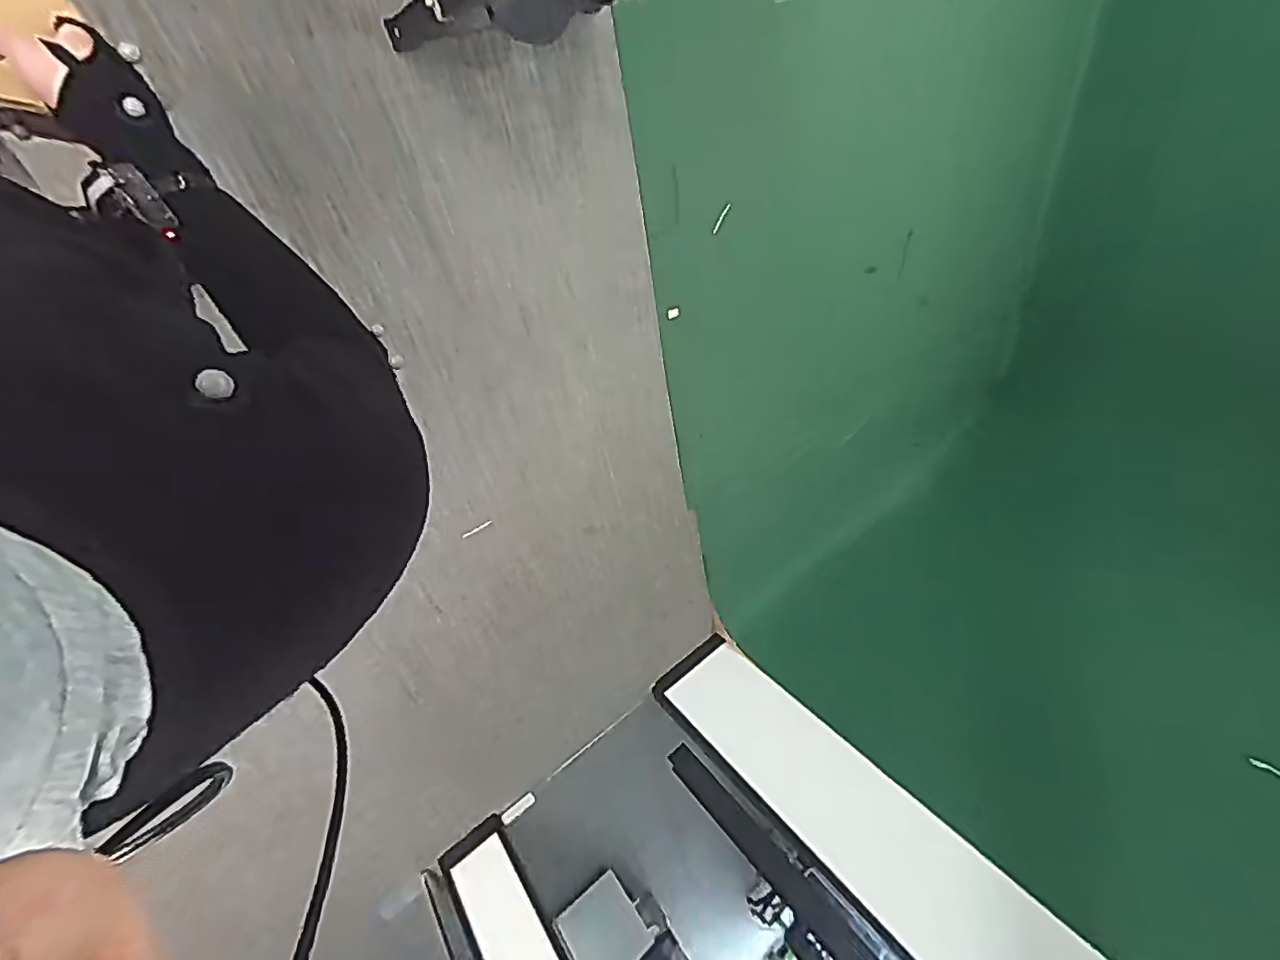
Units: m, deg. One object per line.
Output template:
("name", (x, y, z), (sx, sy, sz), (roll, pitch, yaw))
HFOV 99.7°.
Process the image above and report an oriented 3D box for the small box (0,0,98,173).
("small box", (-0.586, -0.374, 0.453), (0.168, 0.176, 0.179), (-13, 114, -42))
